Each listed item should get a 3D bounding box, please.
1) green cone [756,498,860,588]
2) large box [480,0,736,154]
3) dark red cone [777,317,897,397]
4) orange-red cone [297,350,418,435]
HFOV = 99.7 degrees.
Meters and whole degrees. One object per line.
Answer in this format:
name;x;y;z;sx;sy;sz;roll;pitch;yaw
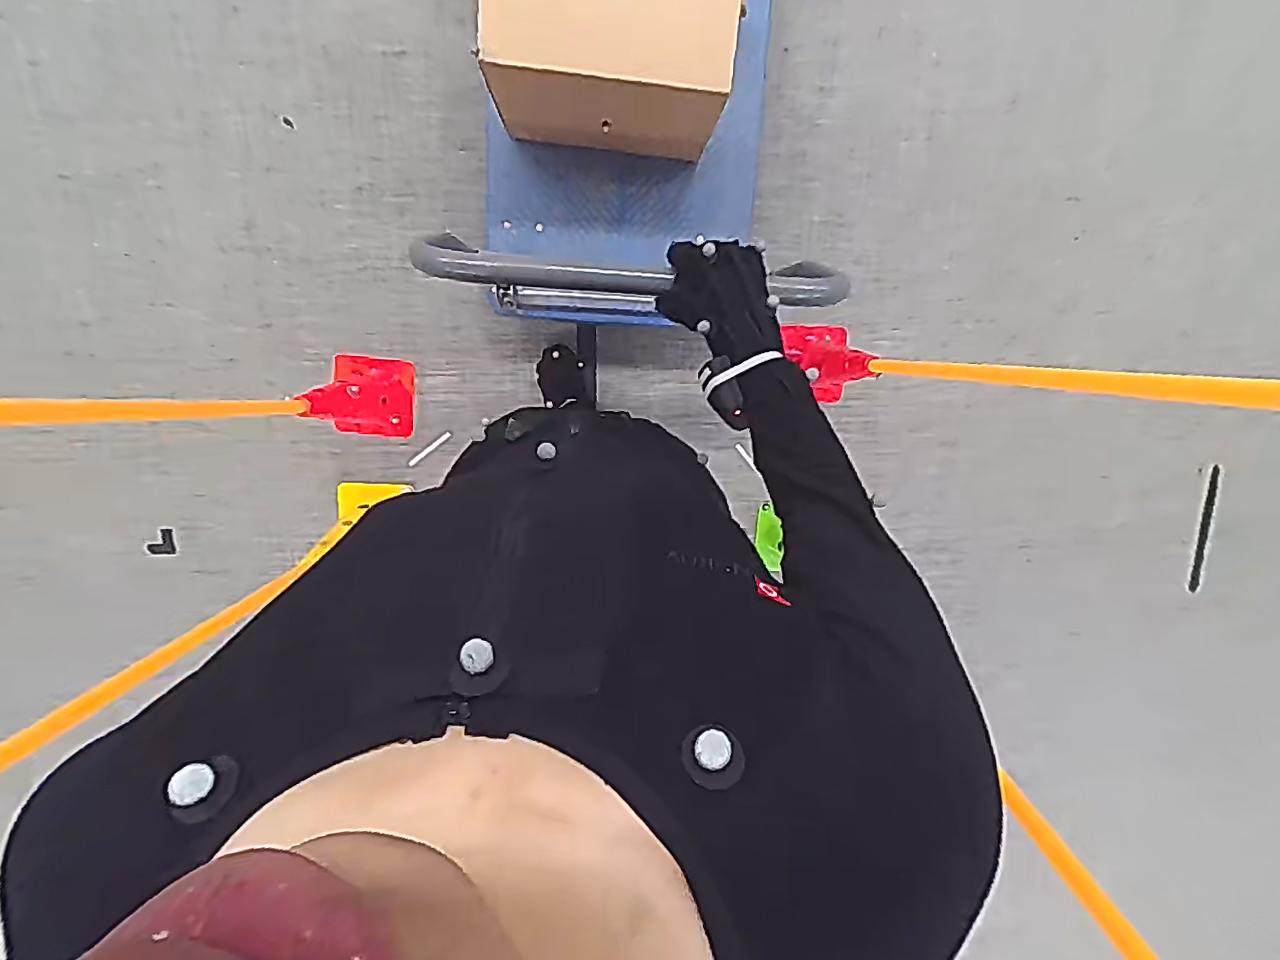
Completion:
green cone;0.446;0.187;1.361;0.202;0.368;0.200;3;102;-5
large box;-0.049;-0.822;0.975;0.408;0.320;0.320;4;102;-4
dark red cone;0.468;-0.285;1.246;0.201;0.394;0.202;-1;102;-5
orange-red cone;-0.662;-0.191;1.220;0.198;0.360;0.199;7;100;-6
